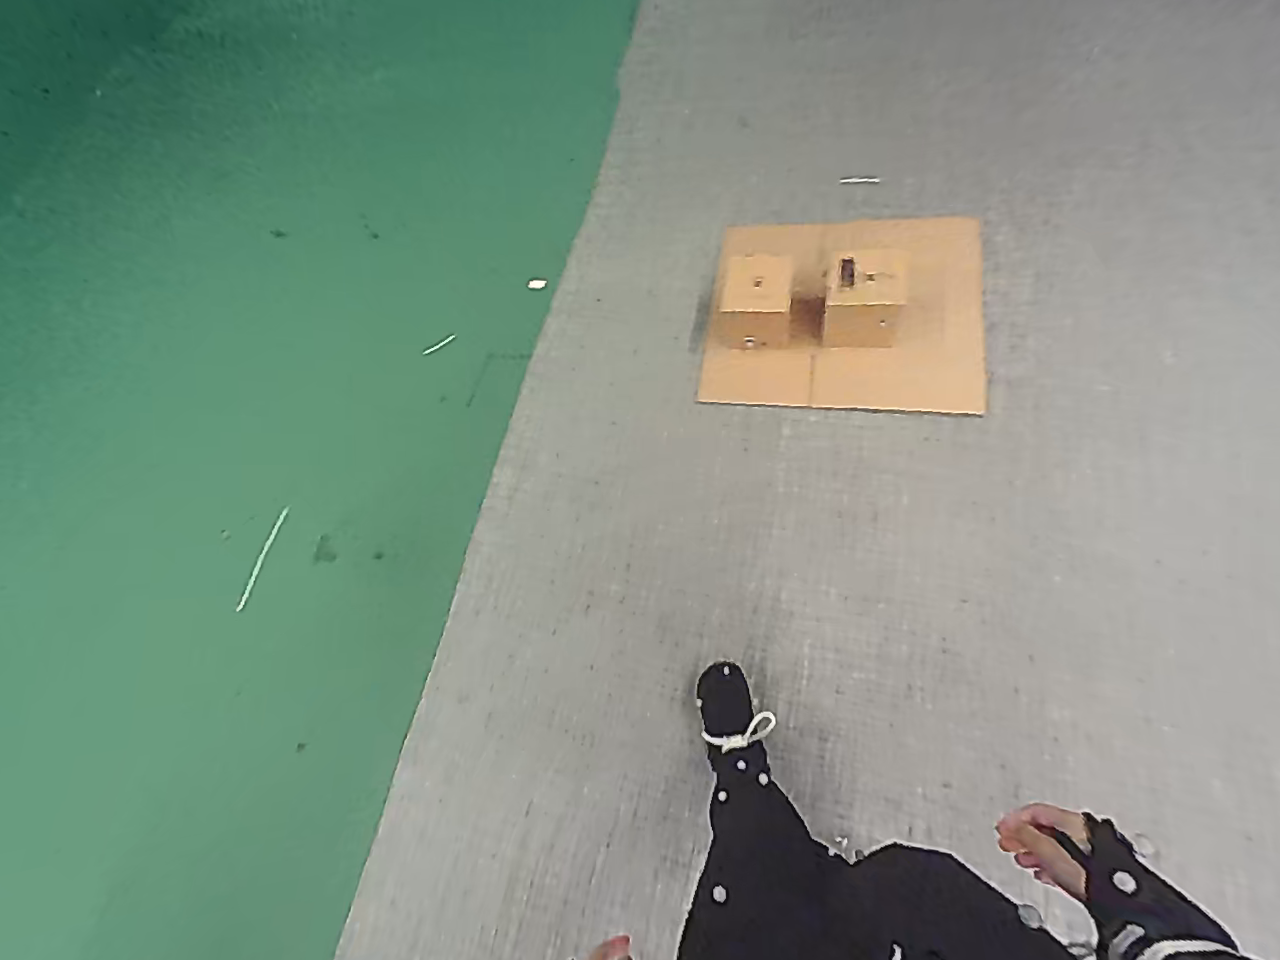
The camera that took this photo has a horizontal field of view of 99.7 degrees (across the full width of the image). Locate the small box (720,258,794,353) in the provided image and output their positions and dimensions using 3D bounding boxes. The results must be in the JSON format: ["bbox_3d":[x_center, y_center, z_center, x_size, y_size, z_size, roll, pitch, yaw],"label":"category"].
[{"bbox_3d":[0.311,-0.459,1.430,0.168,0.176,0.179,5,71,16],"label":"small box"}]
